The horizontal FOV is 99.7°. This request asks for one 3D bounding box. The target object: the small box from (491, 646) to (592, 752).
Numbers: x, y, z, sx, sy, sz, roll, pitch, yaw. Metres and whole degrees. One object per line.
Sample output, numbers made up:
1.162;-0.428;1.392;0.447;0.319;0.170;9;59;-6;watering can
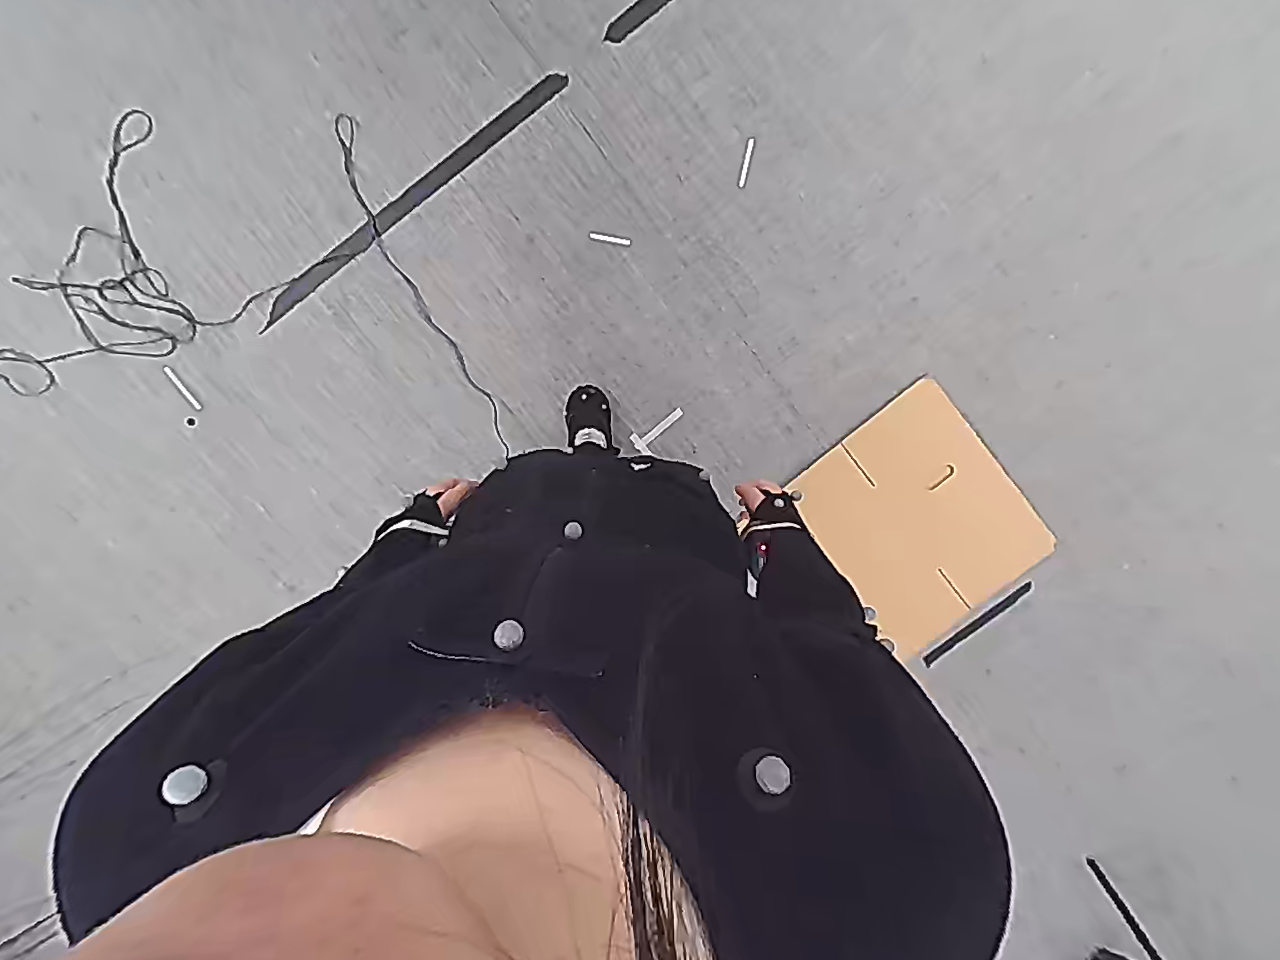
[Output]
-0.204;0.473;1.147;0.179;0.176;0.168;12;96;0;small box
